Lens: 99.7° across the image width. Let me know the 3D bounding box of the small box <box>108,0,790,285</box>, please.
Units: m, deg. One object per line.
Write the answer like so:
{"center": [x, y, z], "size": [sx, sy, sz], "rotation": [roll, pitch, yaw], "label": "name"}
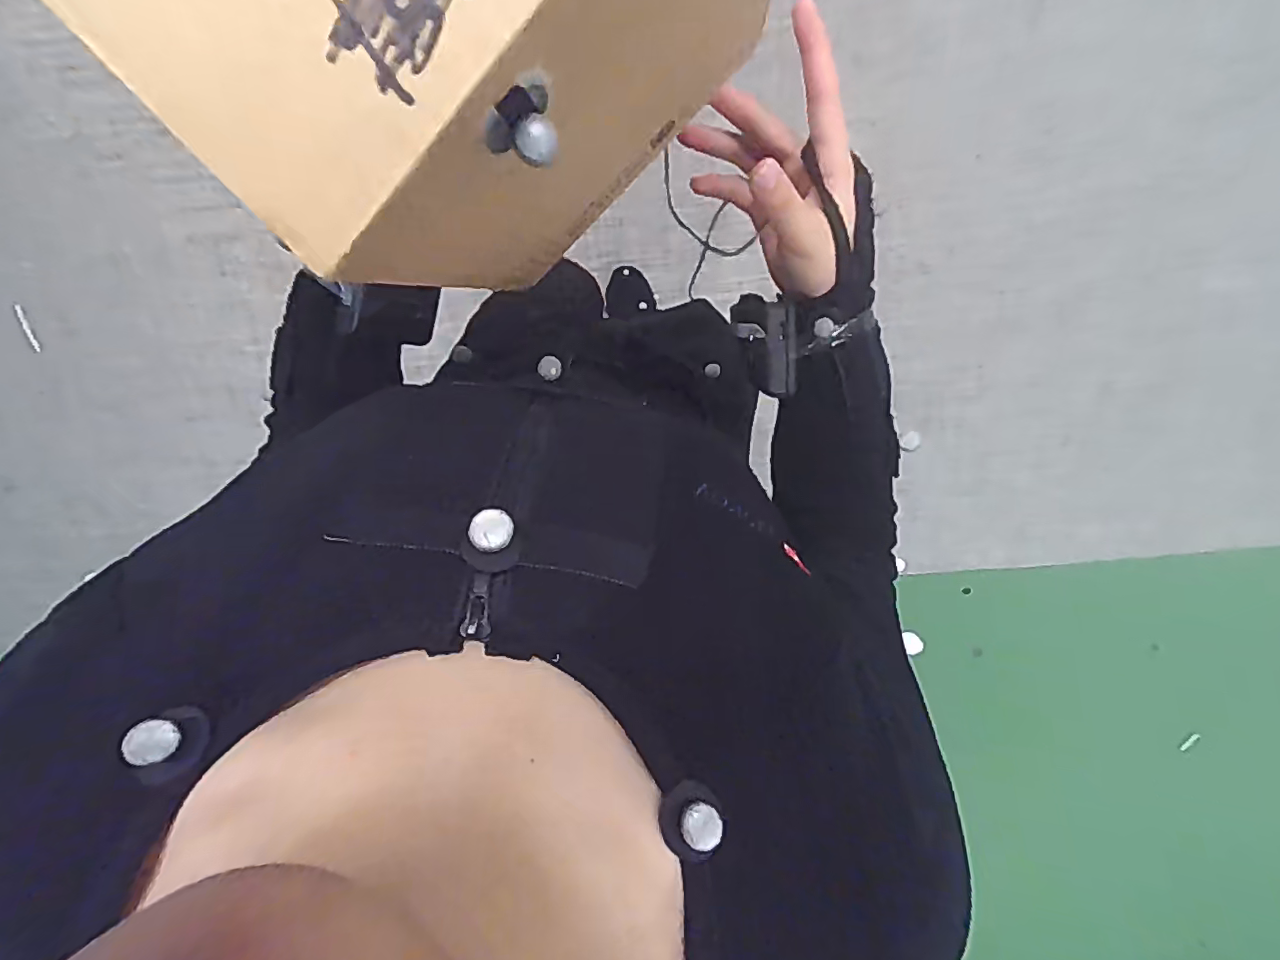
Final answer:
{"center": [-0.060, -0.190, 0.194], "size": [0.168, 0.176, 0.179], "rotation": [-40, 99, 17], "label": "small box"}
